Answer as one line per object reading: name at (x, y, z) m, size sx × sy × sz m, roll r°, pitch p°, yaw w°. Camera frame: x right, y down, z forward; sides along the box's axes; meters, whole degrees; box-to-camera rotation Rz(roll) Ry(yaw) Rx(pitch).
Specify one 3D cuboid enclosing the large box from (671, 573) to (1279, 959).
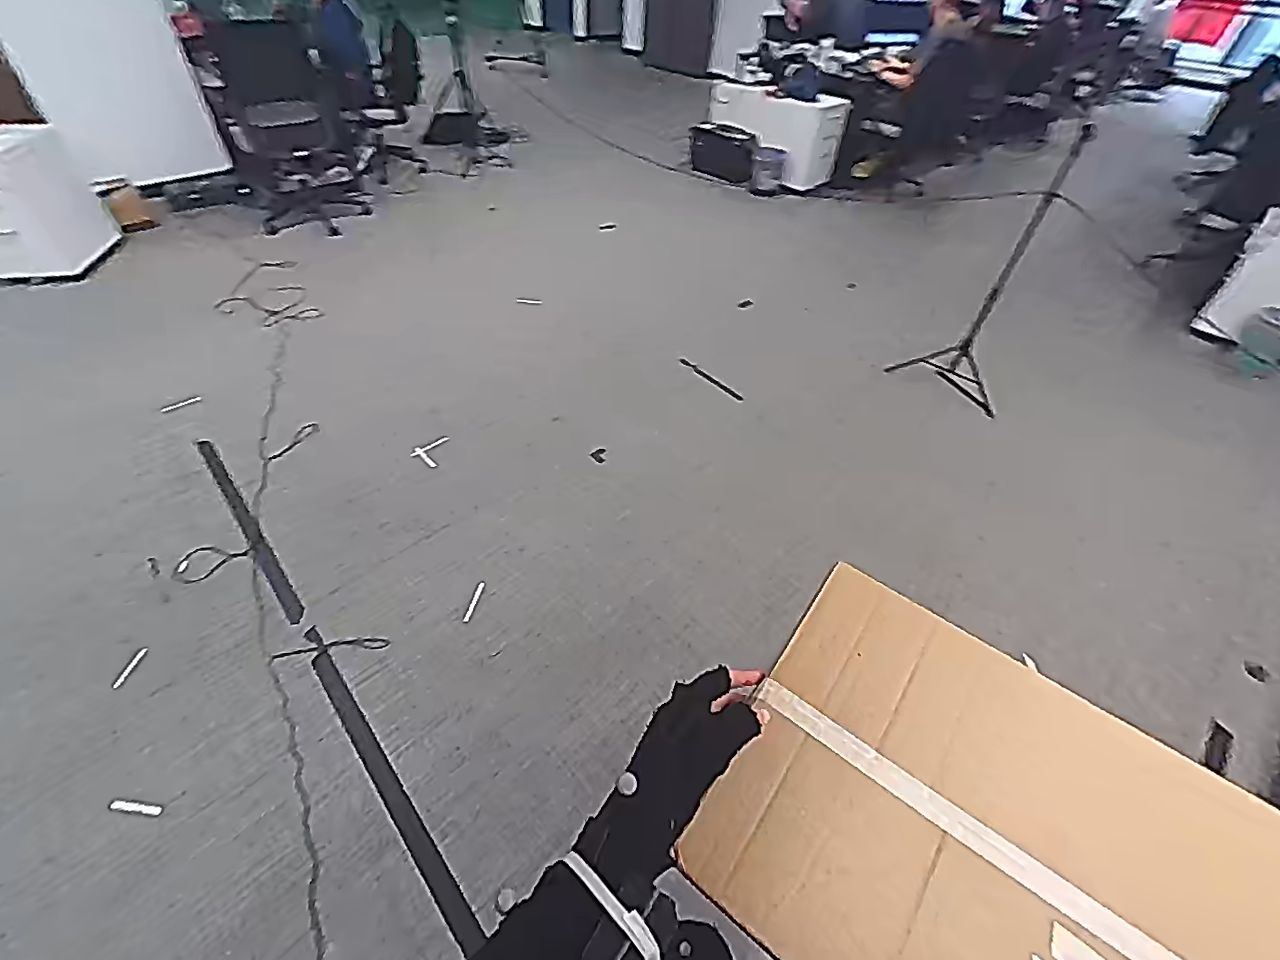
large box at (0.279, 0.372, 0.558) m, size 0.408 × 0.320 × 0.320 m, roll 30°, pitch 63°, yaw 21°
